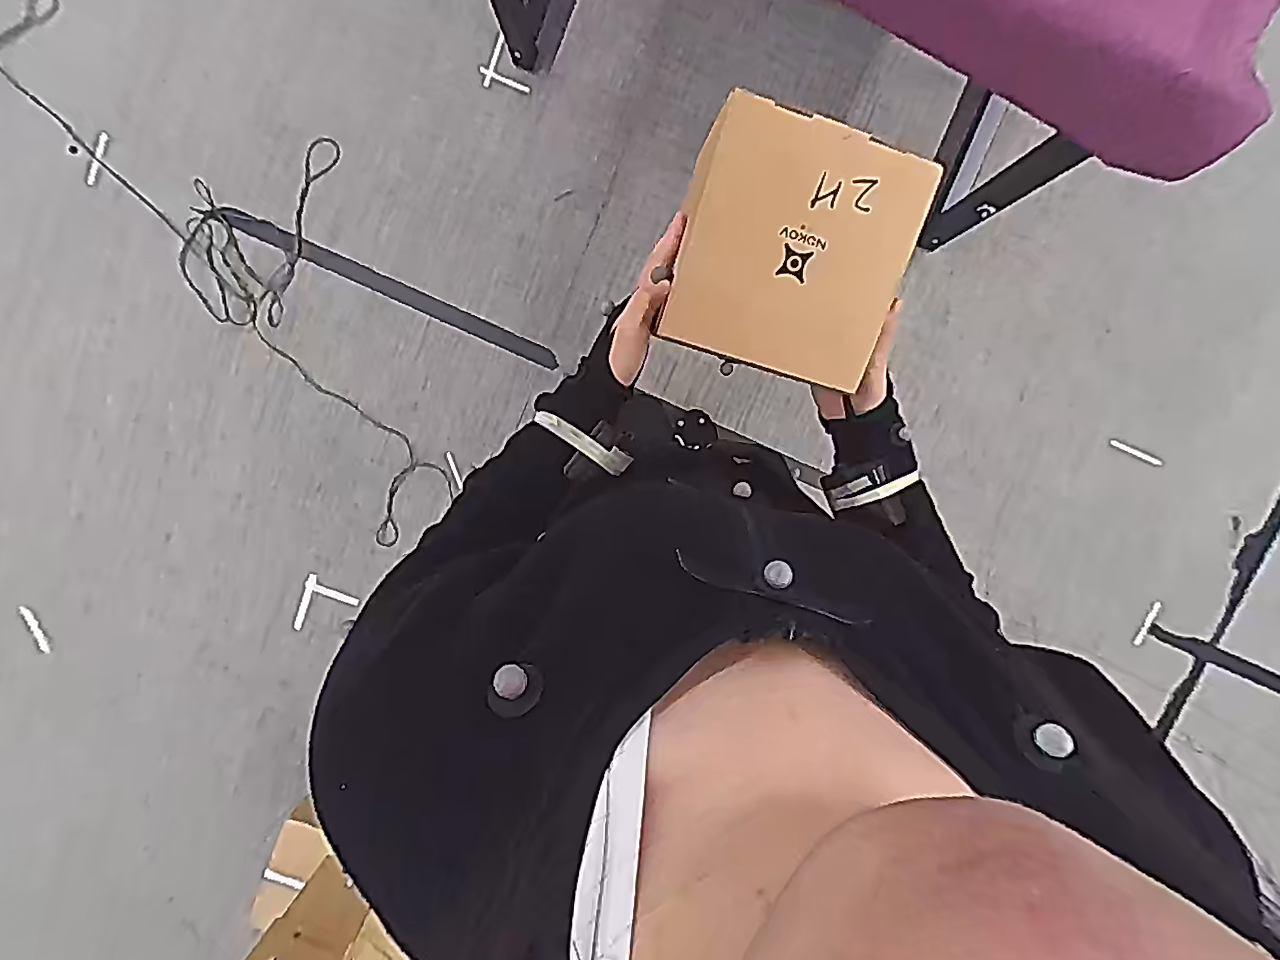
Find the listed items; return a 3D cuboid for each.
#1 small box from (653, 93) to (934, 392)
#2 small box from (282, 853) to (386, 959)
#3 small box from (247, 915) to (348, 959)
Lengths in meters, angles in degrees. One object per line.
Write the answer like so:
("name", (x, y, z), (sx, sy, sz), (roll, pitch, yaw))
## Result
("small box", (0.114, -0.193, 0.487), (0.168, 0.176, 0.179), (15, 103, -8))
("small box", (-0.713, 1.015, 1.237), (0.168, 0.176, 0.179), (21, 95, -3))
("small box", (-0.716, 1.026, 1.075), (0.168, 0.176, 0.179), (20, 97, -1))
